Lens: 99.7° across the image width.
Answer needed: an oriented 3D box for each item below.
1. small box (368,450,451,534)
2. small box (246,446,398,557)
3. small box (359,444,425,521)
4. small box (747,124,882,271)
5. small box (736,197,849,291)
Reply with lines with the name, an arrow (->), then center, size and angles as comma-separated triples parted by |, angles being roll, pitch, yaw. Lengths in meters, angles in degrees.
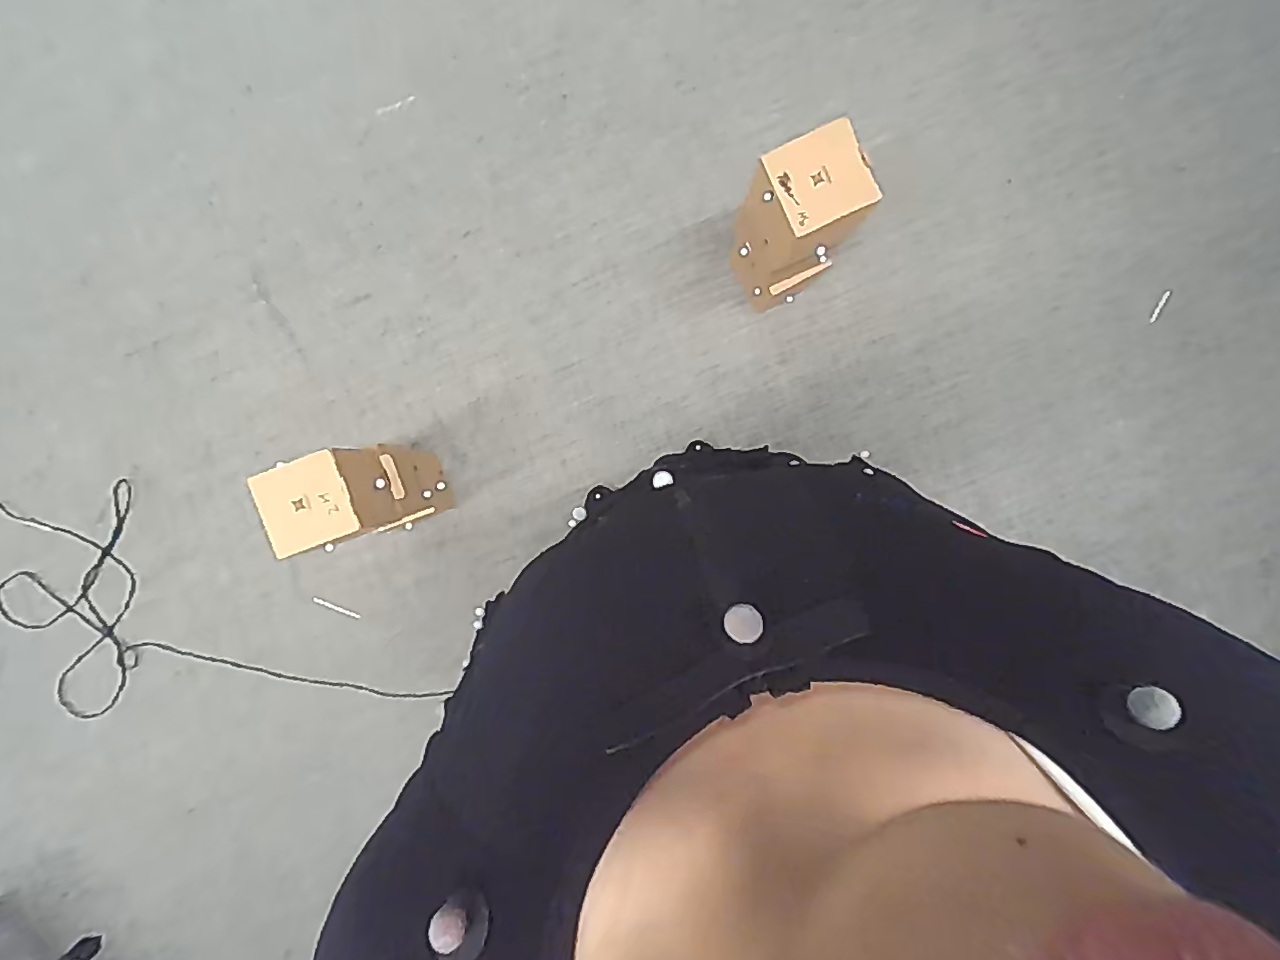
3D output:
small box -> -0.616, 0.026, 1.413 | 0.179, 0.176, 0.168 | -20, 91, 2
small box -> -0.627, 0.039, 1.085 | 0.179, 0.176, 0.168 | -20, 92, 2
small box -> -0.623, 0.020, 1.249 | 0.179, 0.176, 0.168 | -20, 91, 3
small box -> 0.334, -0.547, 1.069 | 0.179, 0.176, 0.168 | -24, 90, 0
small box -> 0.338, -0.560, 1.233 | 0.179, 0.176, 0.168 | -24, 90, 2
